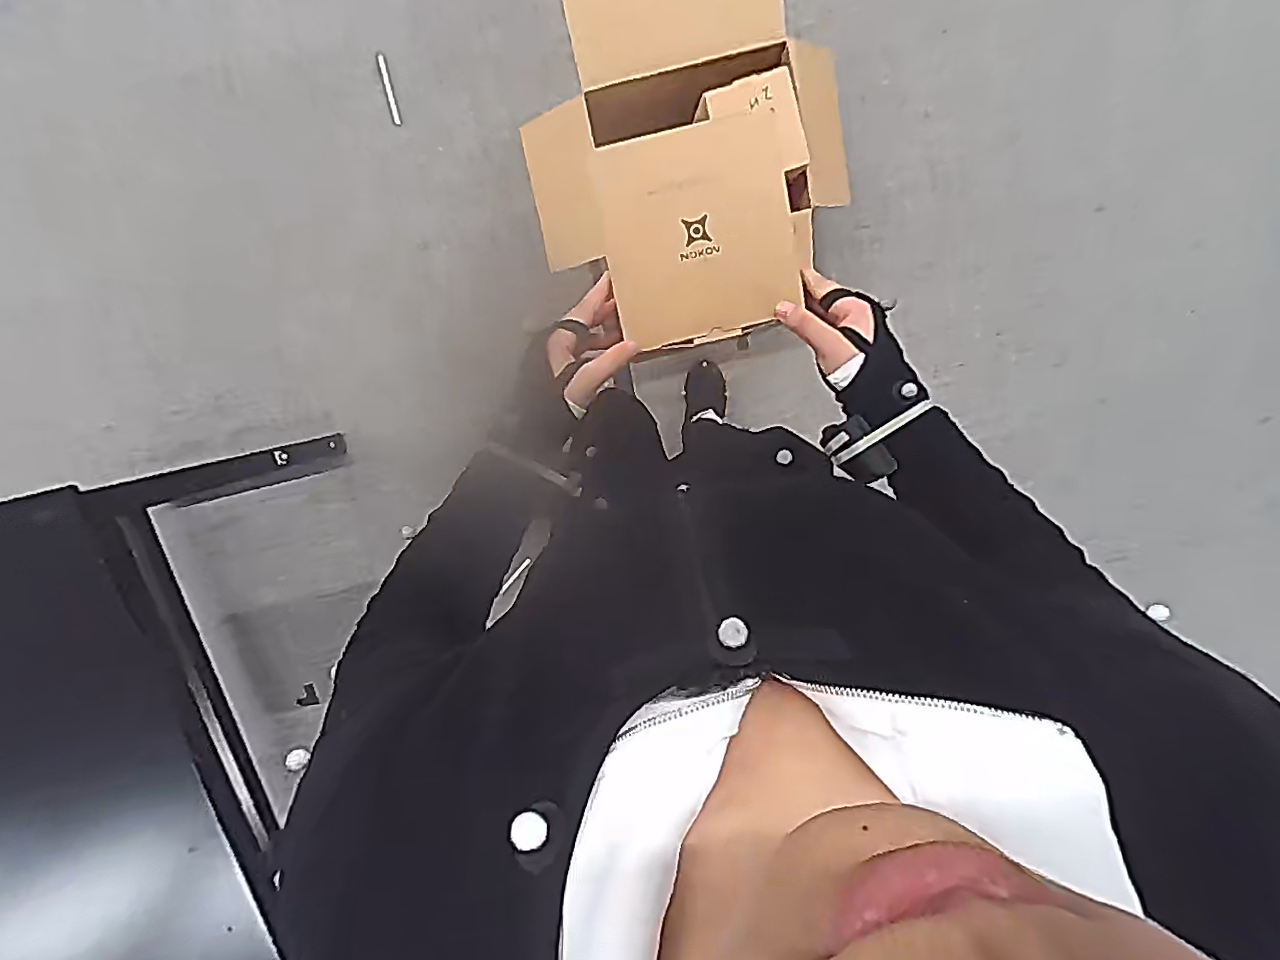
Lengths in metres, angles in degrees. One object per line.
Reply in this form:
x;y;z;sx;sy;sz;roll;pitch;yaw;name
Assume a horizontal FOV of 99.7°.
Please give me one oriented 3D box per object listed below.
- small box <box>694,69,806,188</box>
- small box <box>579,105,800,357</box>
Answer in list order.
0.210;-0.666;1.086;0.168;0.176;0.179;-19;102;0;small box
0.046;-0.227;0.547;0.168;0.176;0.179;-13;99;2;small box
